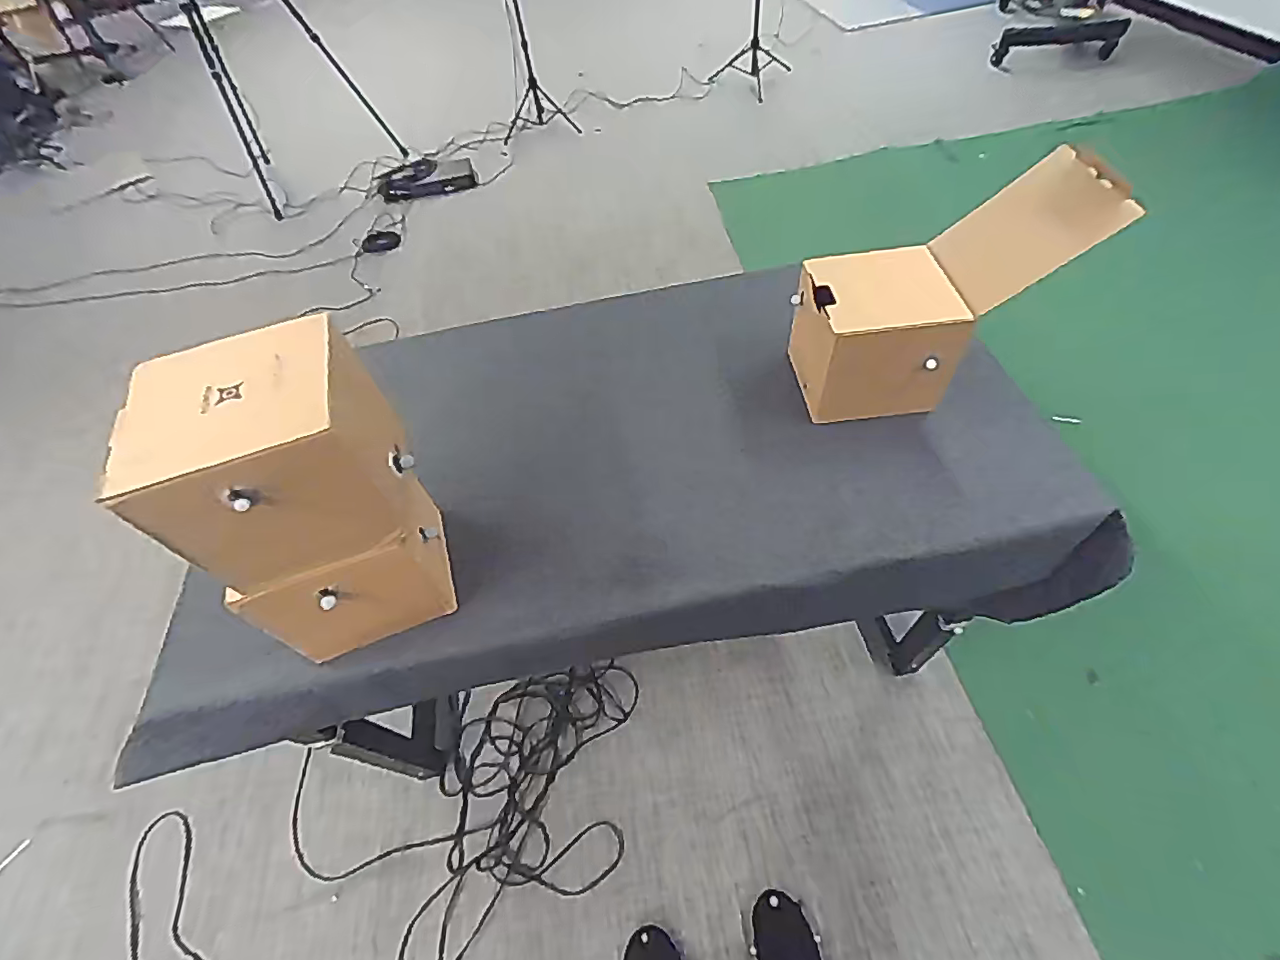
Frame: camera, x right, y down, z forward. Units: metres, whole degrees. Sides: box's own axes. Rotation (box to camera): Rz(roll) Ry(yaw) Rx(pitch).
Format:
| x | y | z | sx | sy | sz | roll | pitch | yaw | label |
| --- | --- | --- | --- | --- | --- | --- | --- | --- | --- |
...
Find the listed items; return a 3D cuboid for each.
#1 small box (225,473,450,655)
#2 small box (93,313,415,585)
| x | y | z | sx | sy | sz | roll | pitch | yaw | label |
| --- | --- | --- | --- | --- | --- | --- | --- | --- | --- |
| -0.341 | 0.081 | 0.644 | 0.179 | 0.176 | 0.168 | -20 | 53 | -8 | small box |
| -0.342 | -0.024 | 0.520 | 0.179 | 0.176 | 0.168 | -19 | 55 | -8 | small box |
